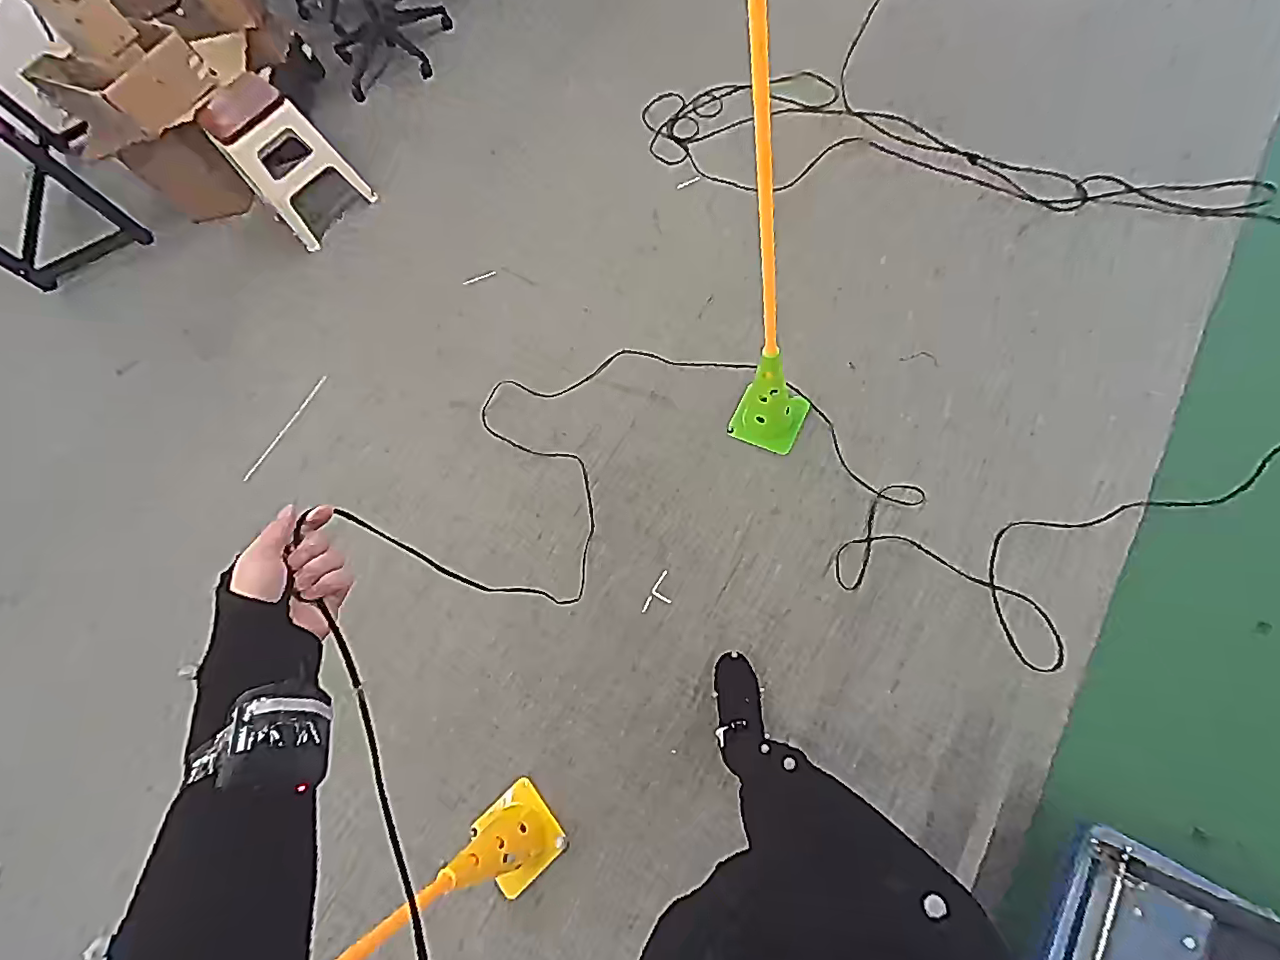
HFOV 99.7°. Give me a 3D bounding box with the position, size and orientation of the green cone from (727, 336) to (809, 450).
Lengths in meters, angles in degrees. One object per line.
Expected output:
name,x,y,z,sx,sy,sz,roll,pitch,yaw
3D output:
green cone,0.357,-0.263,1.478,0.200,0.368,0.202,23,74,19
